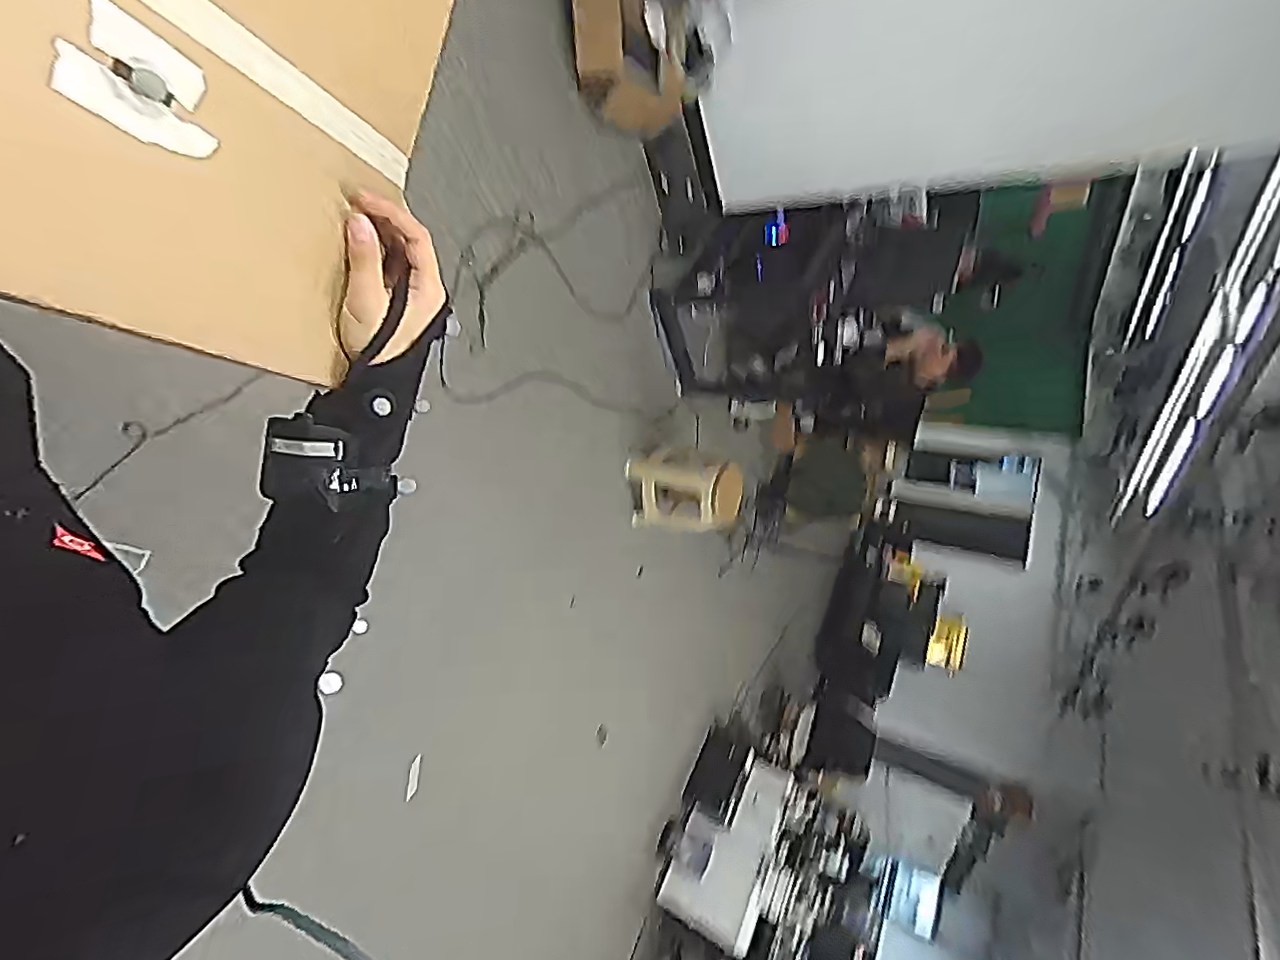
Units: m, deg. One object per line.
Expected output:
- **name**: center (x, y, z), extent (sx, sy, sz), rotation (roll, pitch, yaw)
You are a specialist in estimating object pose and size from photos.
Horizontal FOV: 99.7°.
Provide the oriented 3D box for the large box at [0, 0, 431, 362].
- **large box**: center (-0.391, -0.281, 0.269), extent (0.408, 0.320, 0.320), rotation (13, 94, -64)
